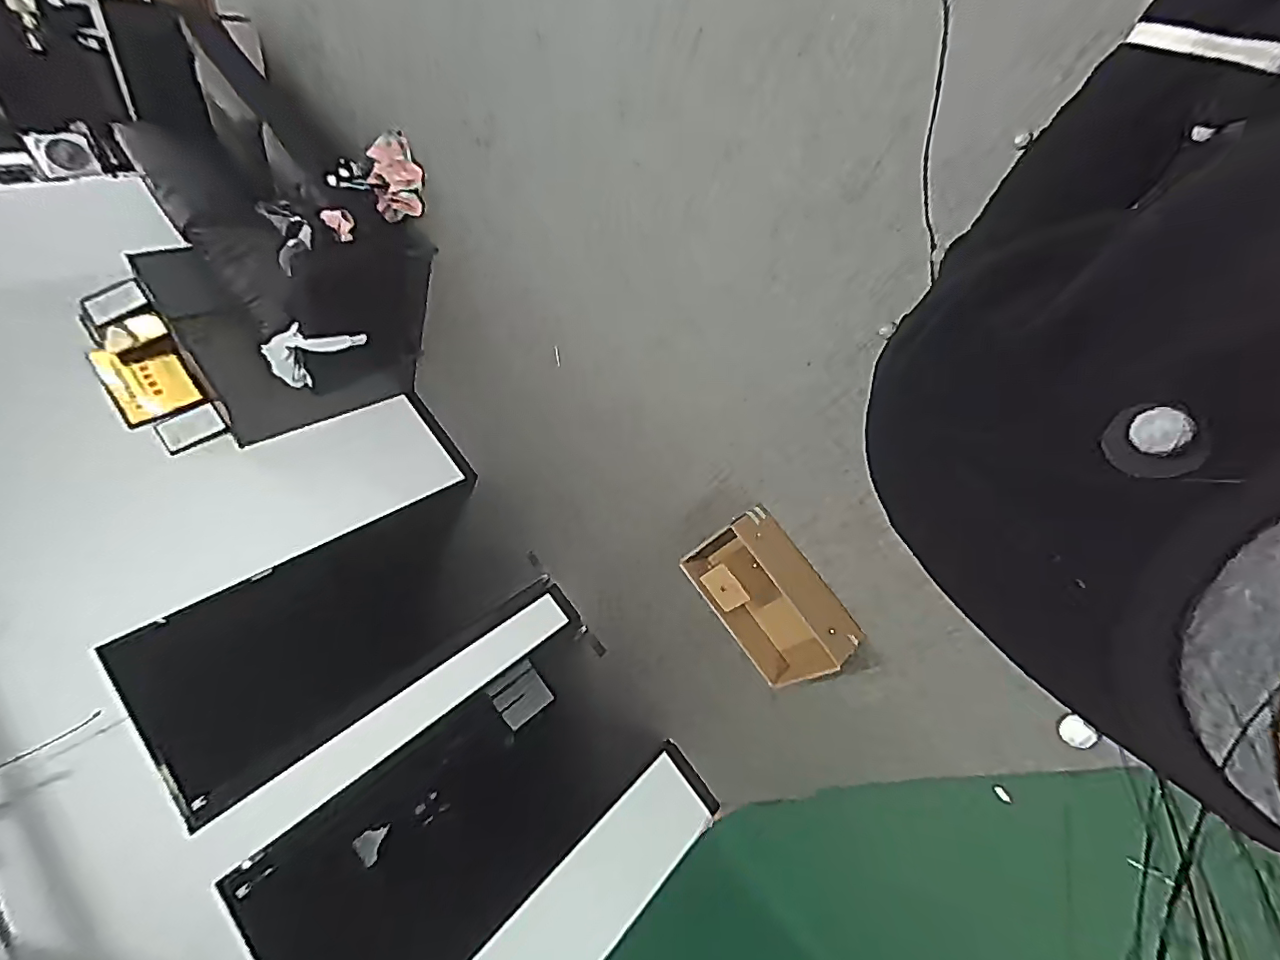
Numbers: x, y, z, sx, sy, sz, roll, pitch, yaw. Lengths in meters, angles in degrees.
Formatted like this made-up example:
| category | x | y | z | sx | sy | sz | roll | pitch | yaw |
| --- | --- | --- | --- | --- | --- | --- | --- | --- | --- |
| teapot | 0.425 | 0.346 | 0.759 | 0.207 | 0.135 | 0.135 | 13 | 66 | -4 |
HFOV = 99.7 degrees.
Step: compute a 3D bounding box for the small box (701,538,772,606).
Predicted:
| category | x | y | z | sx | sy | sz | roll | pitch | yaw |
| --- | --- | --- | --- | --- | --- | --- | --- | --- | --- |
| small box | 0.374 | 0.354 | 2.078 | 0.168 | 0.176 | 0.179 | 52 | 141 | 8 |
